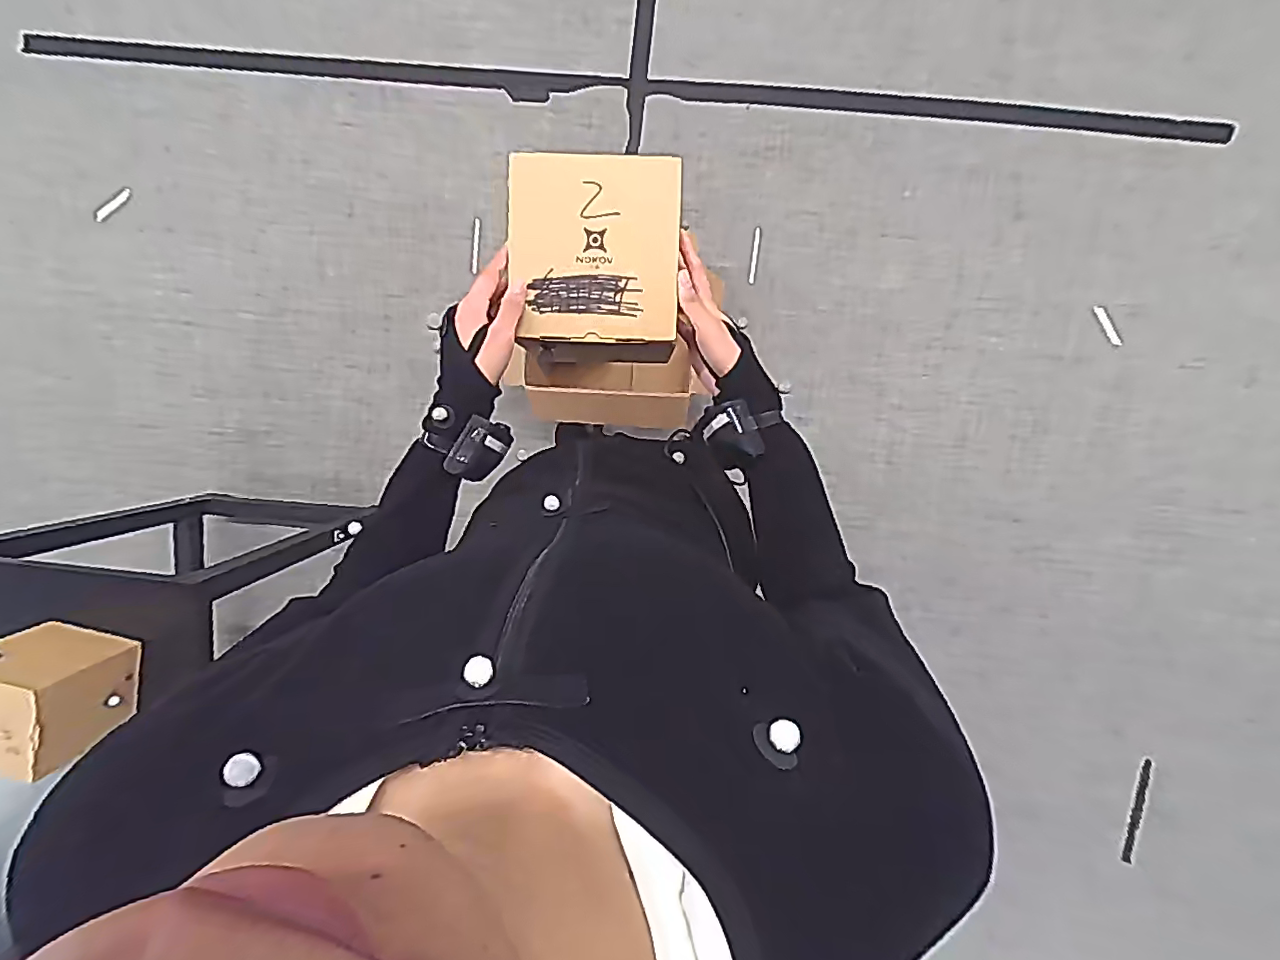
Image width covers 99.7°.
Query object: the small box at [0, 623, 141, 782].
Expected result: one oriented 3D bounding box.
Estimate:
[{"bbox_3d":[-1.006,0.360,0.908,0.179,0.176,0.168,13,100,1],"label":"small box"}]
